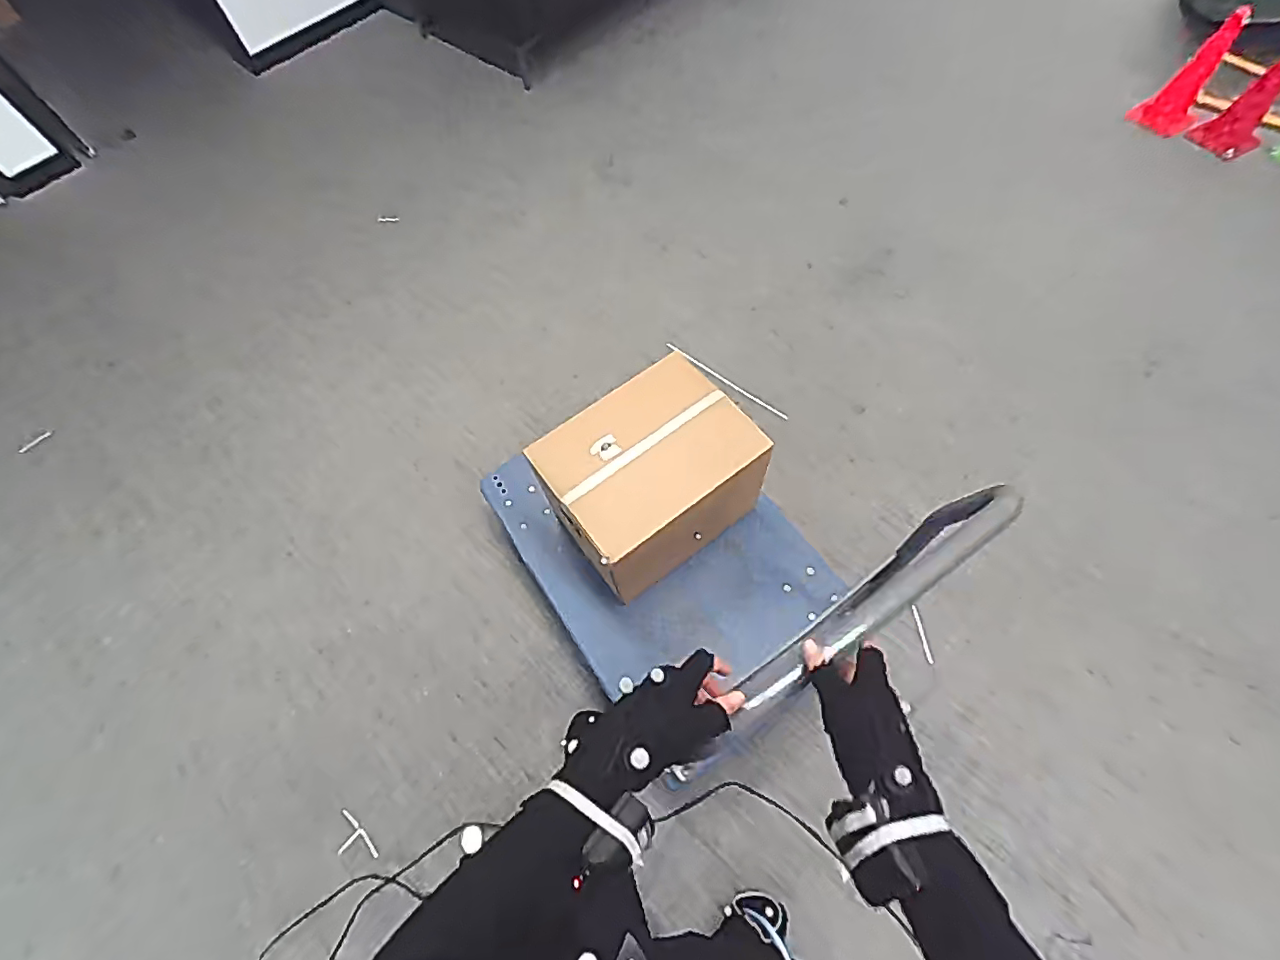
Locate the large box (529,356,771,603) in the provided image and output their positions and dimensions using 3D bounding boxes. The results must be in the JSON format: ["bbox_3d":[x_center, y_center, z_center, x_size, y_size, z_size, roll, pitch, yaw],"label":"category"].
[{"bbox_3d":[0.030,0.009,1.221,0.408,0.320,0.320,-36,65,-12],"label":"large box"}]
